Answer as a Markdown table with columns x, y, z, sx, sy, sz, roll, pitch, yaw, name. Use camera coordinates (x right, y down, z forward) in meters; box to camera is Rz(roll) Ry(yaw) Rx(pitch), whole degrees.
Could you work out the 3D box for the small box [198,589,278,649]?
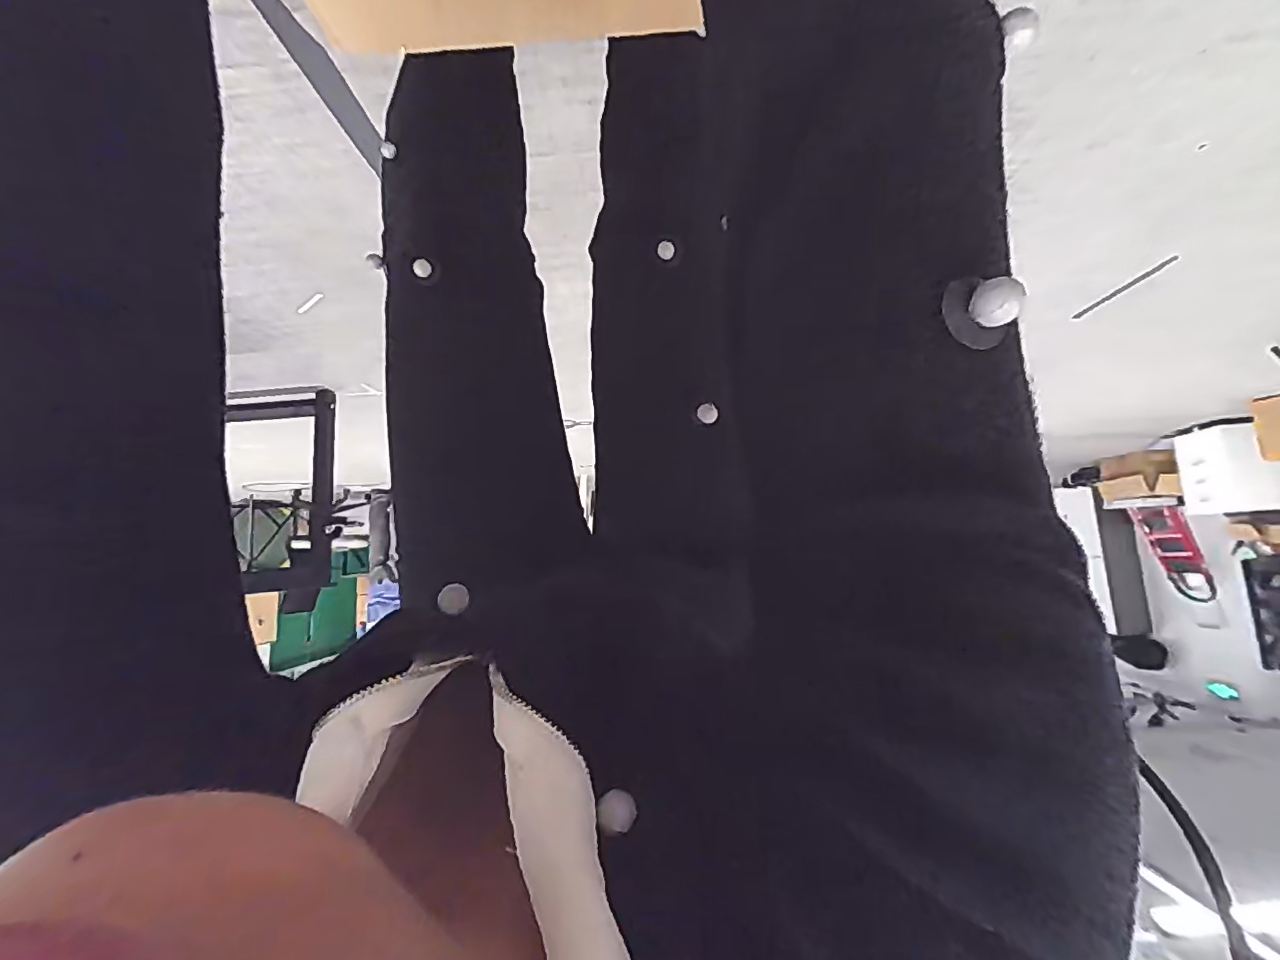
| x | y | z | sx | sy | sz | roll | pitch | yaw | name |
| --- | --- | --- | --- | --- | --- | --- | --- | --- | --- |
| -1.305 | 0.443 | 1.745 | 0.168 | 0.176 | 0.179 | -4 | 172 | 4 | small box |
